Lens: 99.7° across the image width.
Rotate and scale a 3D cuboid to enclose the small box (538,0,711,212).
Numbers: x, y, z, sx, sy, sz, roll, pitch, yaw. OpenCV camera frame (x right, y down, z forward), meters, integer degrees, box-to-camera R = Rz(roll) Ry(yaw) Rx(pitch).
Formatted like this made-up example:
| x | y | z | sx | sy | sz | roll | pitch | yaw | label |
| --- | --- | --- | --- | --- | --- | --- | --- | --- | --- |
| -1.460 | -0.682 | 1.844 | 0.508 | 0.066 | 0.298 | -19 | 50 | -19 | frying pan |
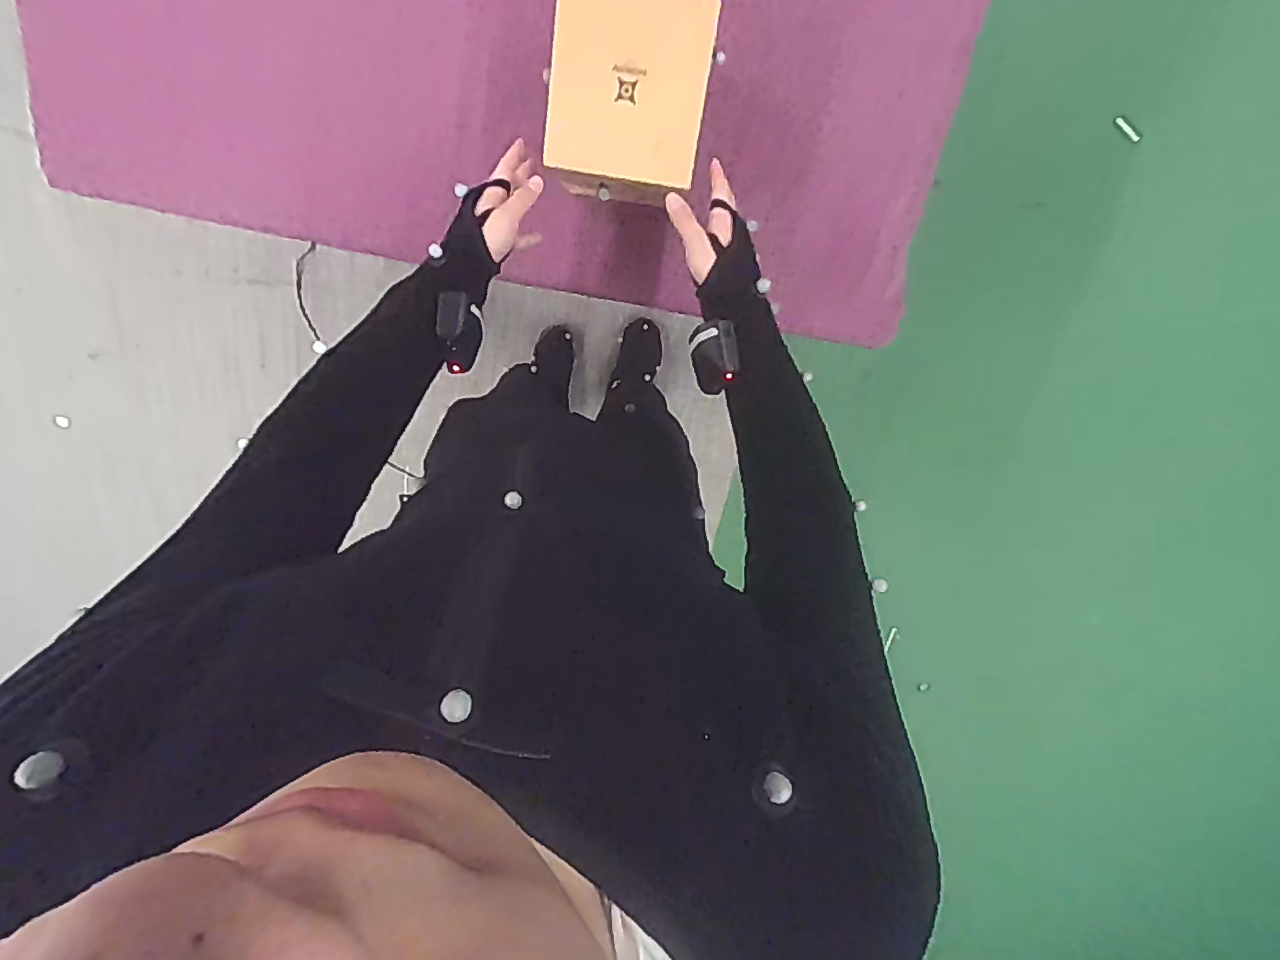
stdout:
| x | y | z | sx | sy | sz | roll | pitch | yaw | label |
| --- | --- | --- | --- | --- | --- | --- | --- | --- | --- |
| -0.015 | -0.433 | 0.645 | 0.168 | 0.176 | 0.179 | 9 | 109 | 0 | small box |
